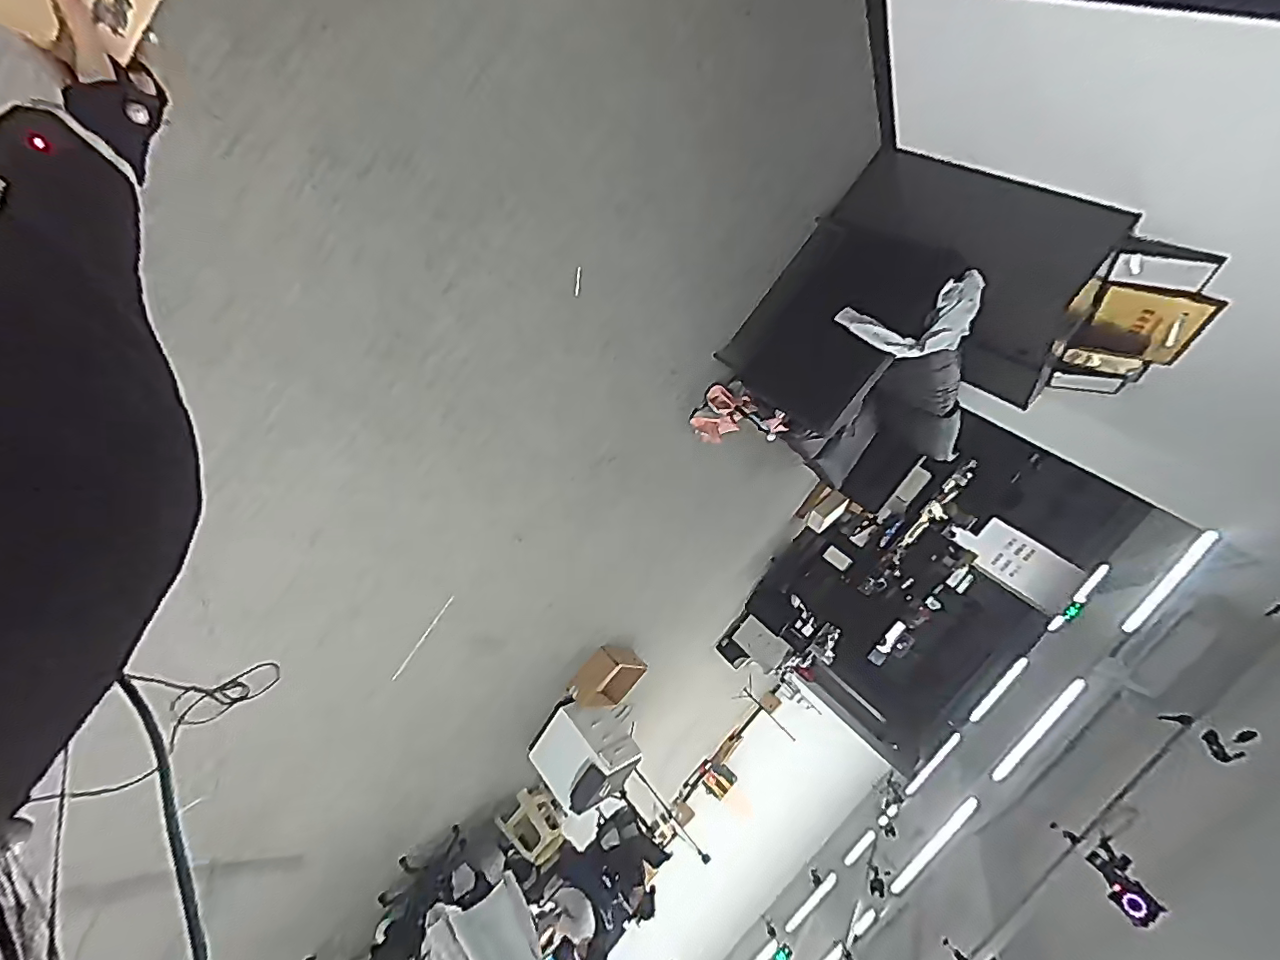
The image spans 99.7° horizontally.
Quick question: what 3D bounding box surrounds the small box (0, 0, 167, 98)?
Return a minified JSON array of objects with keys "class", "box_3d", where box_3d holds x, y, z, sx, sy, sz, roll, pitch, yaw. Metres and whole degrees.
[{"class":"small box","box_3d":[-0.546,-0.489,0.472,0.168,0.176,0.179,-51,150,9]}]
